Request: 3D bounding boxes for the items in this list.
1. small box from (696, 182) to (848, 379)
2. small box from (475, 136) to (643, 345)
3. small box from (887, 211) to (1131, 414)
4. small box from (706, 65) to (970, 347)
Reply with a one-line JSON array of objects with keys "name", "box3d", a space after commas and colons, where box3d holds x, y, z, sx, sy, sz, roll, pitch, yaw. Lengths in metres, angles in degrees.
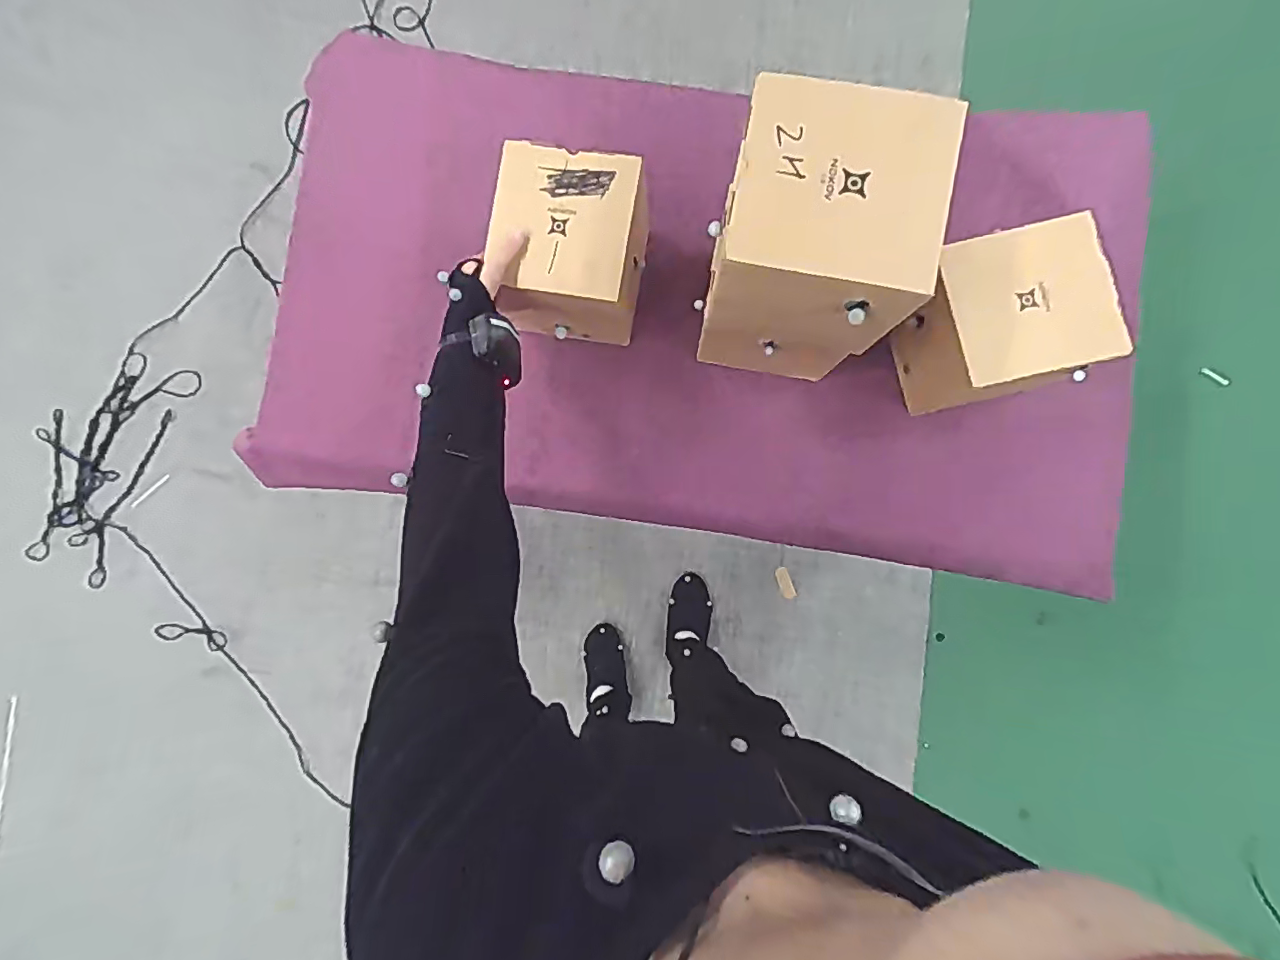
[{"name": "small box", "box3d": [0.171, -0.236, 0.678, 0.179, 0.176, 0.168, 11, 87, 3]}, {"name": "small box", "box3d": [-0.090, -0.293, 0.692, 0.168, 0.176, 0.179, 10, 87, 3]}, {"name": "small box", "box3d": [0.425, -0.189, 0.663, 0.179, 0.176, 0.168, -13, 85, 1]}, {"name": "small box", "box3d": [0.168, -0.237, 0.513, 0.179, 0.176, 0.168, 12, 87, 3]}]
